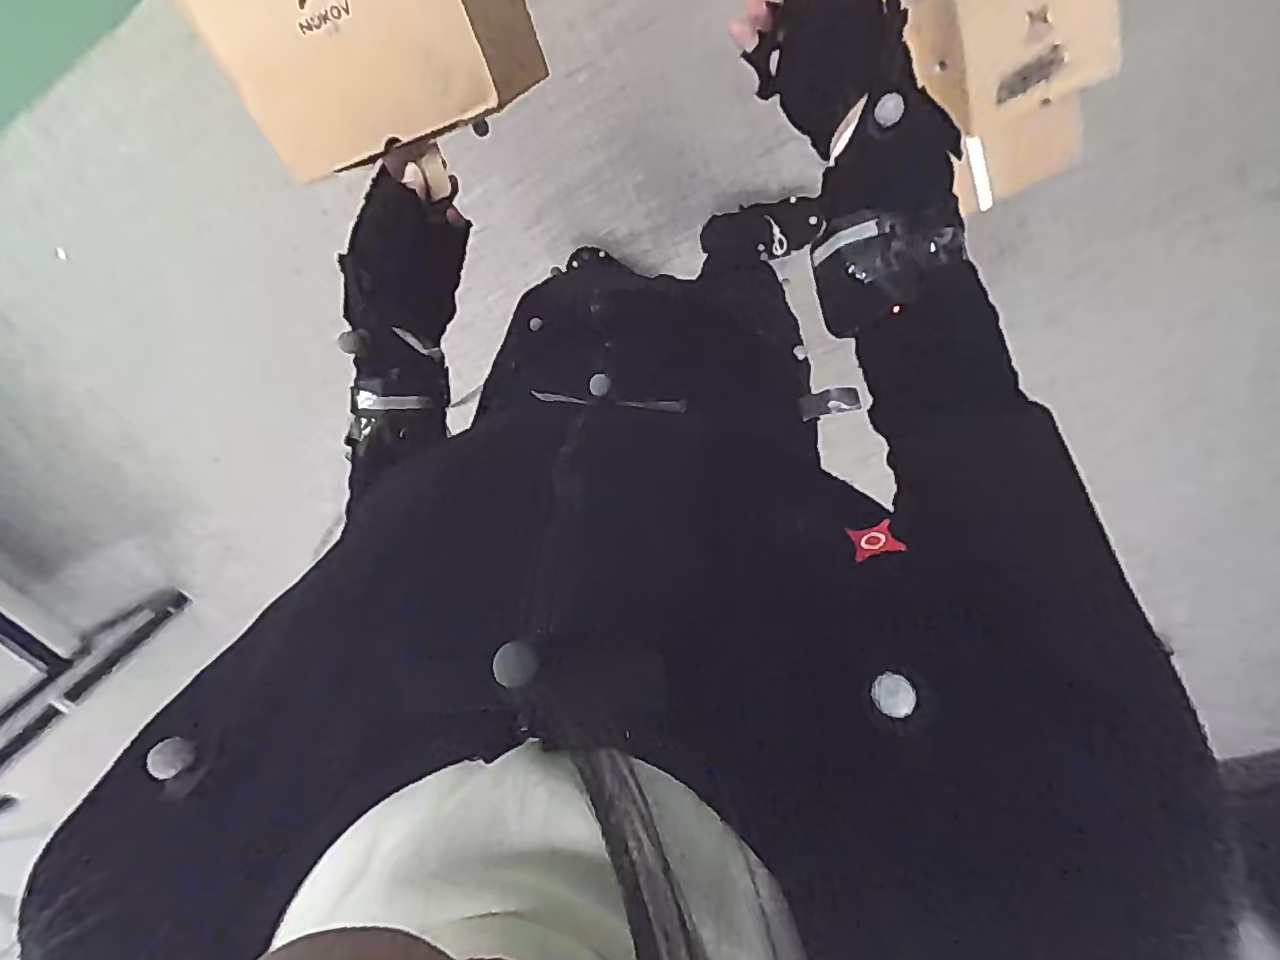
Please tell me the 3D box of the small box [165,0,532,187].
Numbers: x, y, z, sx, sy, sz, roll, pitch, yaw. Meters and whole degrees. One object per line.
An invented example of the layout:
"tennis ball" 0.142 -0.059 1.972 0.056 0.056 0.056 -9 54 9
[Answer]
"small box" -0.194 -0.341 0.375 0.168 0.176 0.179 -13 129 14

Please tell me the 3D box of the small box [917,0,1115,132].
"small box" 0.490 -0.594 0.722 0.168 0.176 0.179 -15 118 16
